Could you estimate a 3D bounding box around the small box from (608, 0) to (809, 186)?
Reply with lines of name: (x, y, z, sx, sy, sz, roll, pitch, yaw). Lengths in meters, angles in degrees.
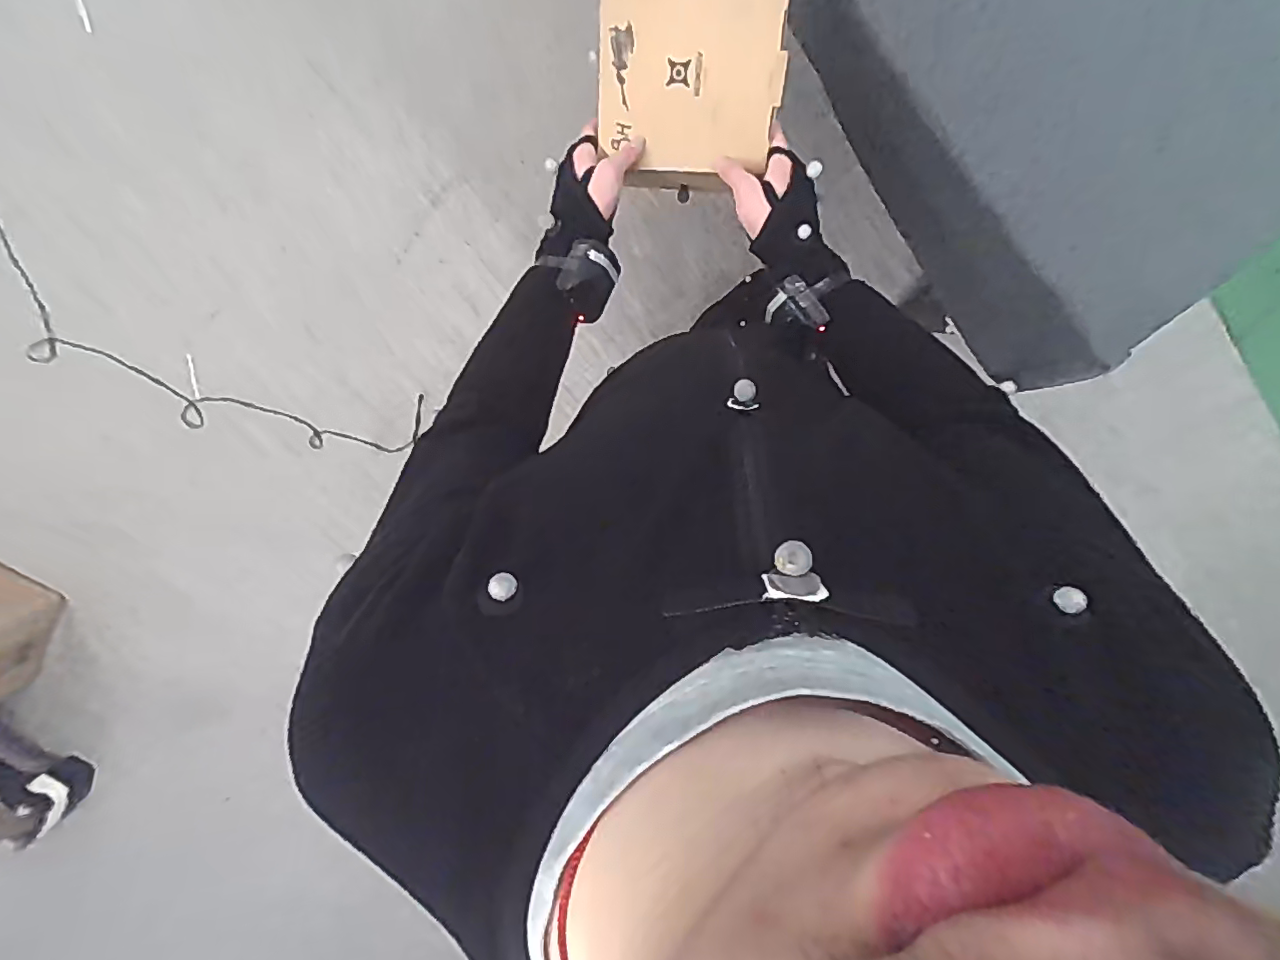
small box: (0.063, -0.415, 0.570, 0.179, 0.176, 0.168, 4, 112, 1)
